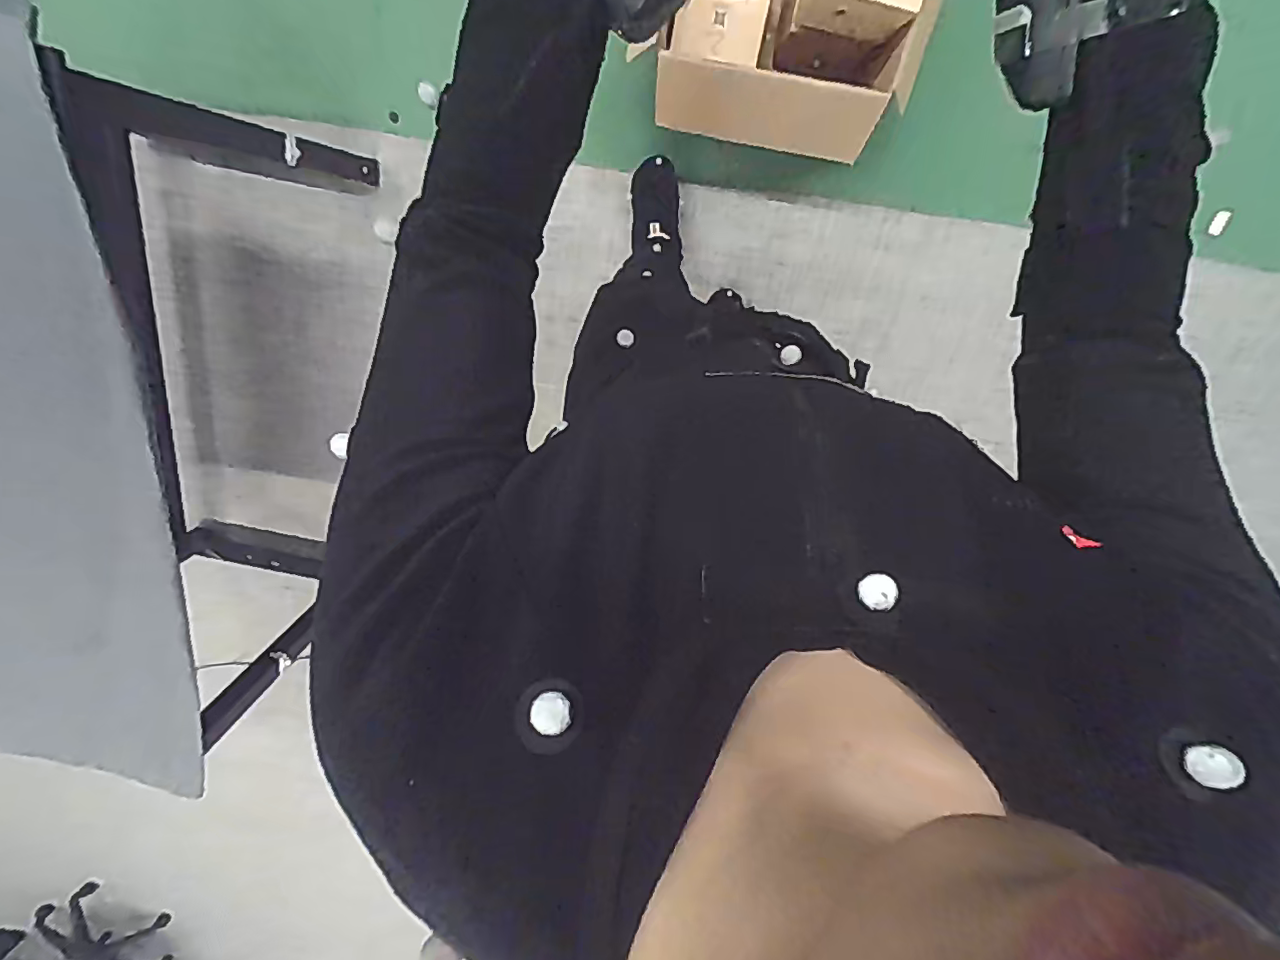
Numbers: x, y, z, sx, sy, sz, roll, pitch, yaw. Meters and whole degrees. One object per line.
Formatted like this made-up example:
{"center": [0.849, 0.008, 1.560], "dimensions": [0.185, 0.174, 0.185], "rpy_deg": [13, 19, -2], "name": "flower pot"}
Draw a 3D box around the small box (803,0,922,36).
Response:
{"center": [0.371, -0.845, 0.852], "dimensions": [0.168, 0.176, 0.179], "rpy_deg": [12, 113, -3], "name": "small box"}
